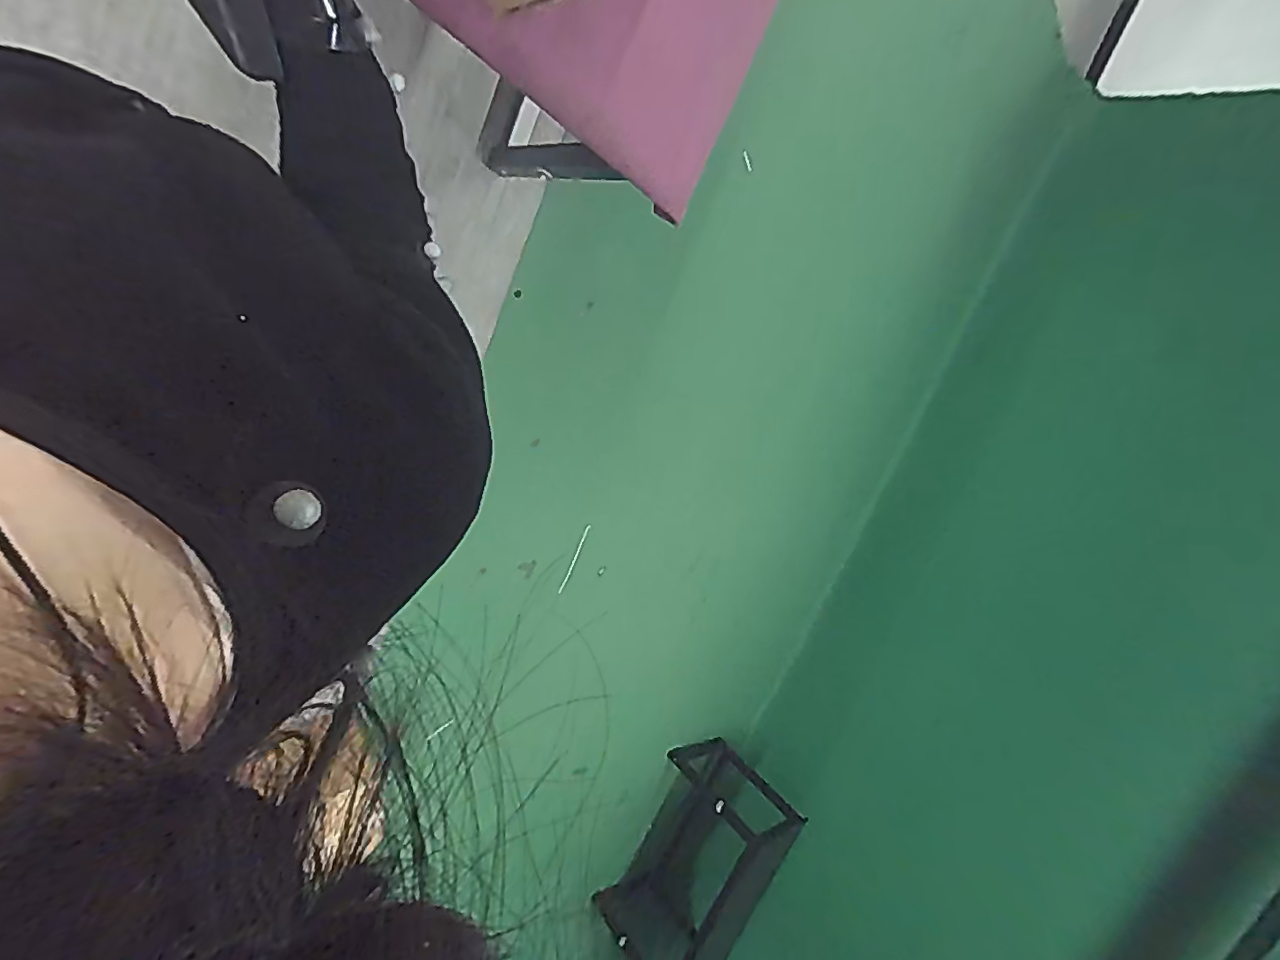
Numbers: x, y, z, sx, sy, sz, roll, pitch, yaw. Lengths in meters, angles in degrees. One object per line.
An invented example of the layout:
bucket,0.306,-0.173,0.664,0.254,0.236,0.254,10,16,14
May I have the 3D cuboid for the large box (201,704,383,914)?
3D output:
large box,-1.036,0.951,1.622,0.408,0.320,0.320,-6,118,-42
